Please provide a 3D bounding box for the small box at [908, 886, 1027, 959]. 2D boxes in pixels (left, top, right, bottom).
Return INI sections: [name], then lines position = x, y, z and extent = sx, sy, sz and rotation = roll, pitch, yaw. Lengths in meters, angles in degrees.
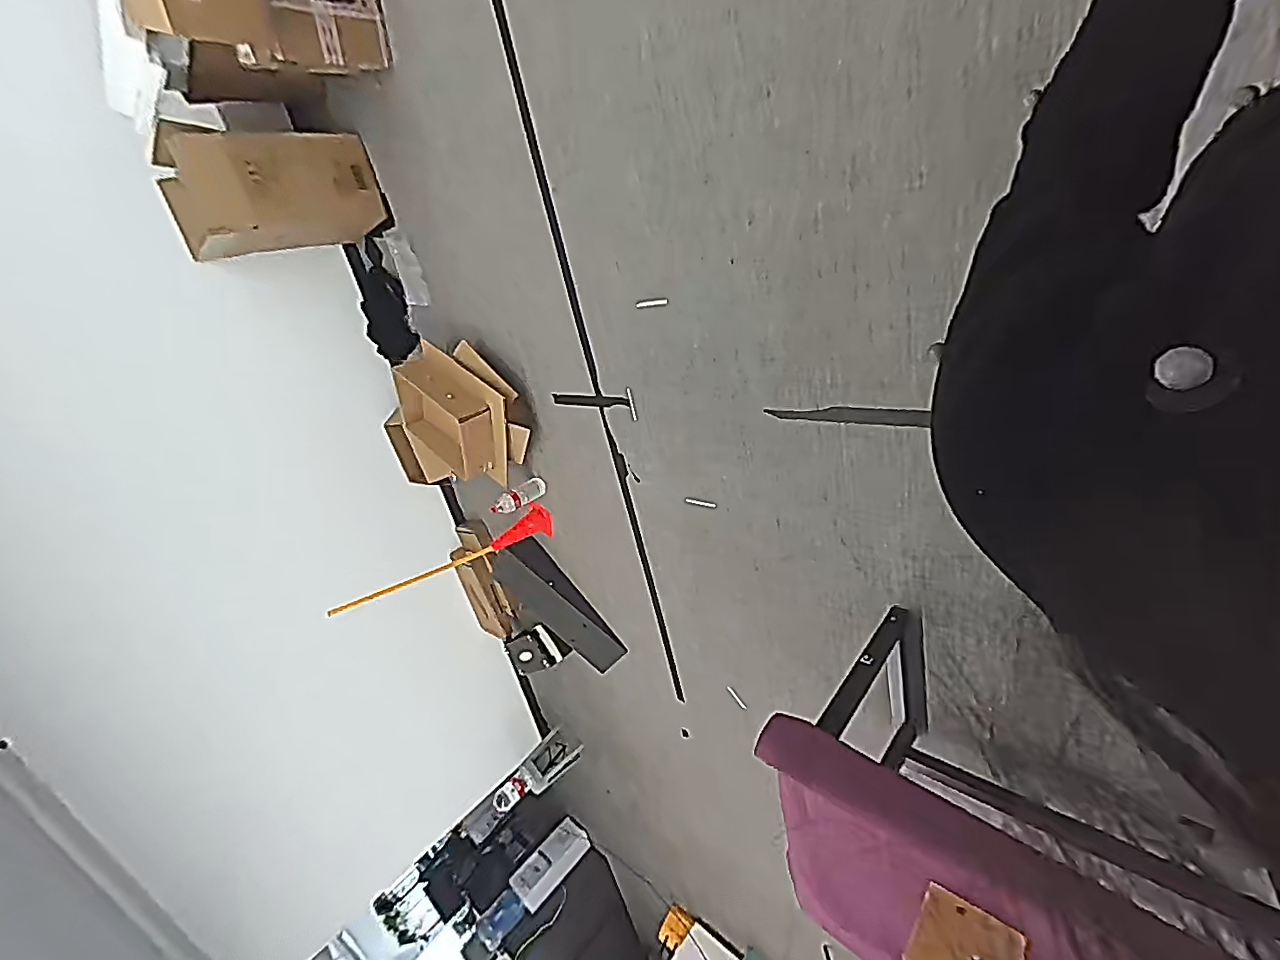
[small box]
position = 0.637, 0.956, 1.055
extent = 0.168, 0.176, 0.179
rotation = 10, 123, 43
